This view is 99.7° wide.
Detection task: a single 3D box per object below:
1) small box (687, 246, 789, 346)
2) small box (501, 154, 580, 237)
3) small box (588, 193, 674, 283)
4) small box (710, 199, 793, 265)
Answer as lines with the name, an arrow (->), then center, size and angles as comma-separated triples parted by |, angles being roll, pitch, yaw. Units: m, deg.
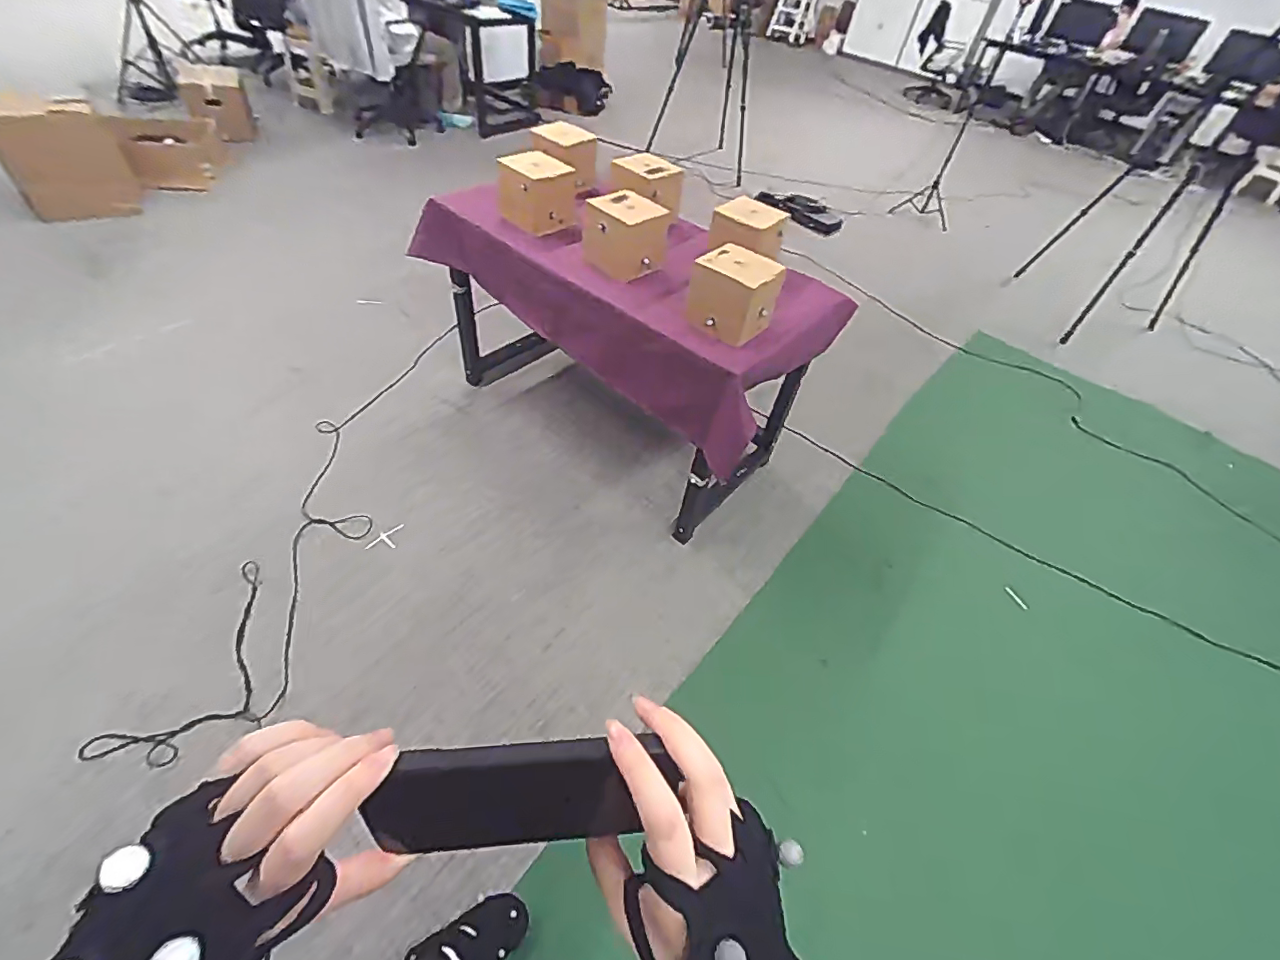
small box -> 0.245, -0.465, 1.384 | 0.179, 0.176, 0.168 | 35, 52, 21
small box -> -0.307, -0.875, 1.665 | 0.179, 0.176, 0.168 | 38, 53, 22
small box -> -0.033, -0.689, 1.542 | 0.179, 0.176, 0.168 | 40, 54, 23
small box -> 0.324, -0.709, 1.617 | 0.168, 0.176, 0.179 | 34, 52, 21
